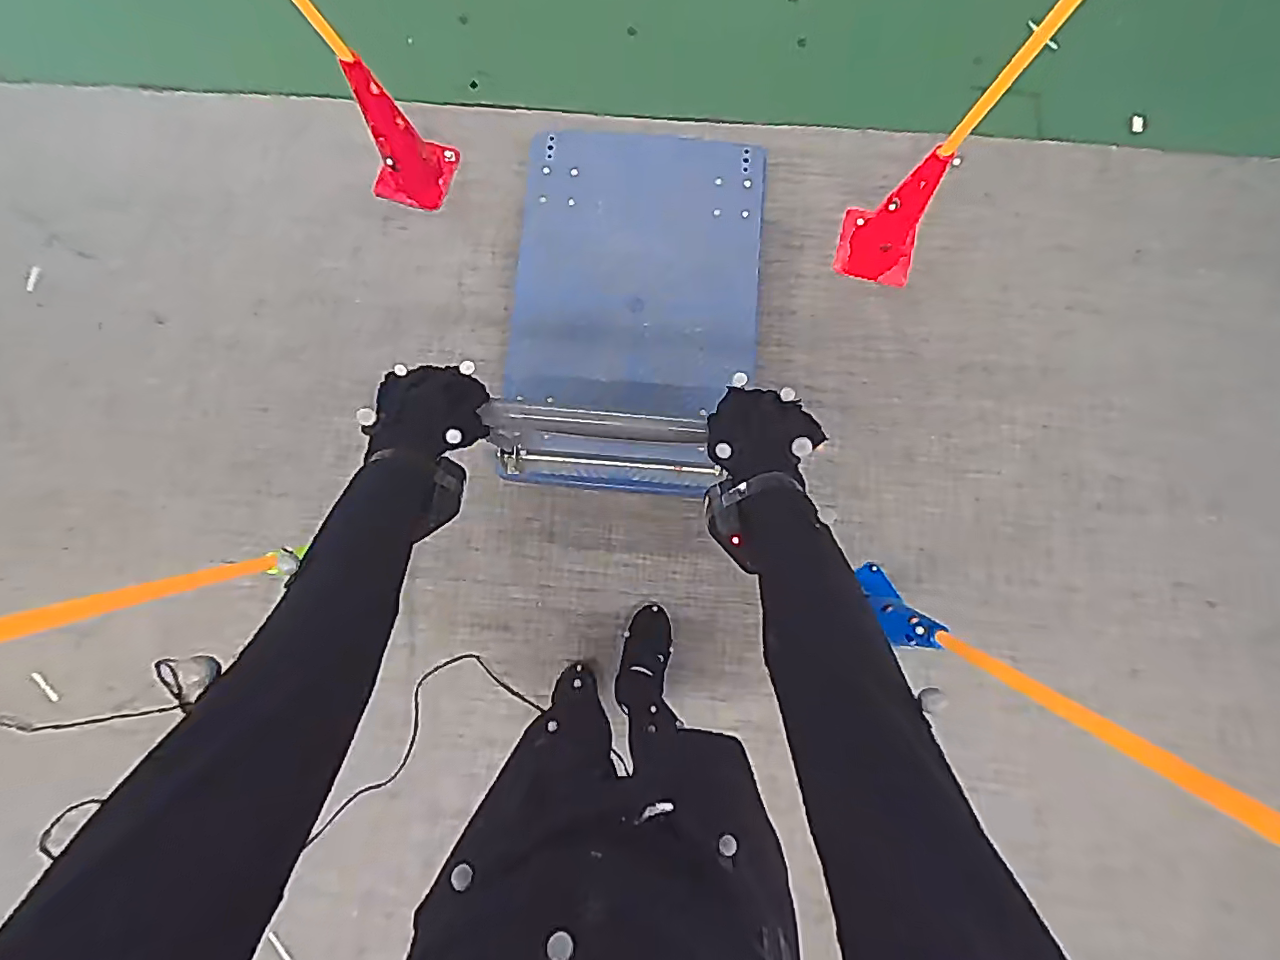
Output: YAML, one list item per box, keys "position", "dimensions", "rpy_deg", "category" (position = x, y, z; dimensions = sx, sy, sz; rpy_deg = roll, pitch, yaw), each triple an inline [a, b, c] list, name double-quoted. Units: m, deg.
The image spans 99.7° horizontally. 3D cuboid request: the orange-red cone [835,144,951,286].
- position: [0.639, -0.659, 1.304]
  dimensions: [0.198, 0.360, 0.199]
  rpy_deg: [15, 83, 4]
  category: "orange-red cone"
